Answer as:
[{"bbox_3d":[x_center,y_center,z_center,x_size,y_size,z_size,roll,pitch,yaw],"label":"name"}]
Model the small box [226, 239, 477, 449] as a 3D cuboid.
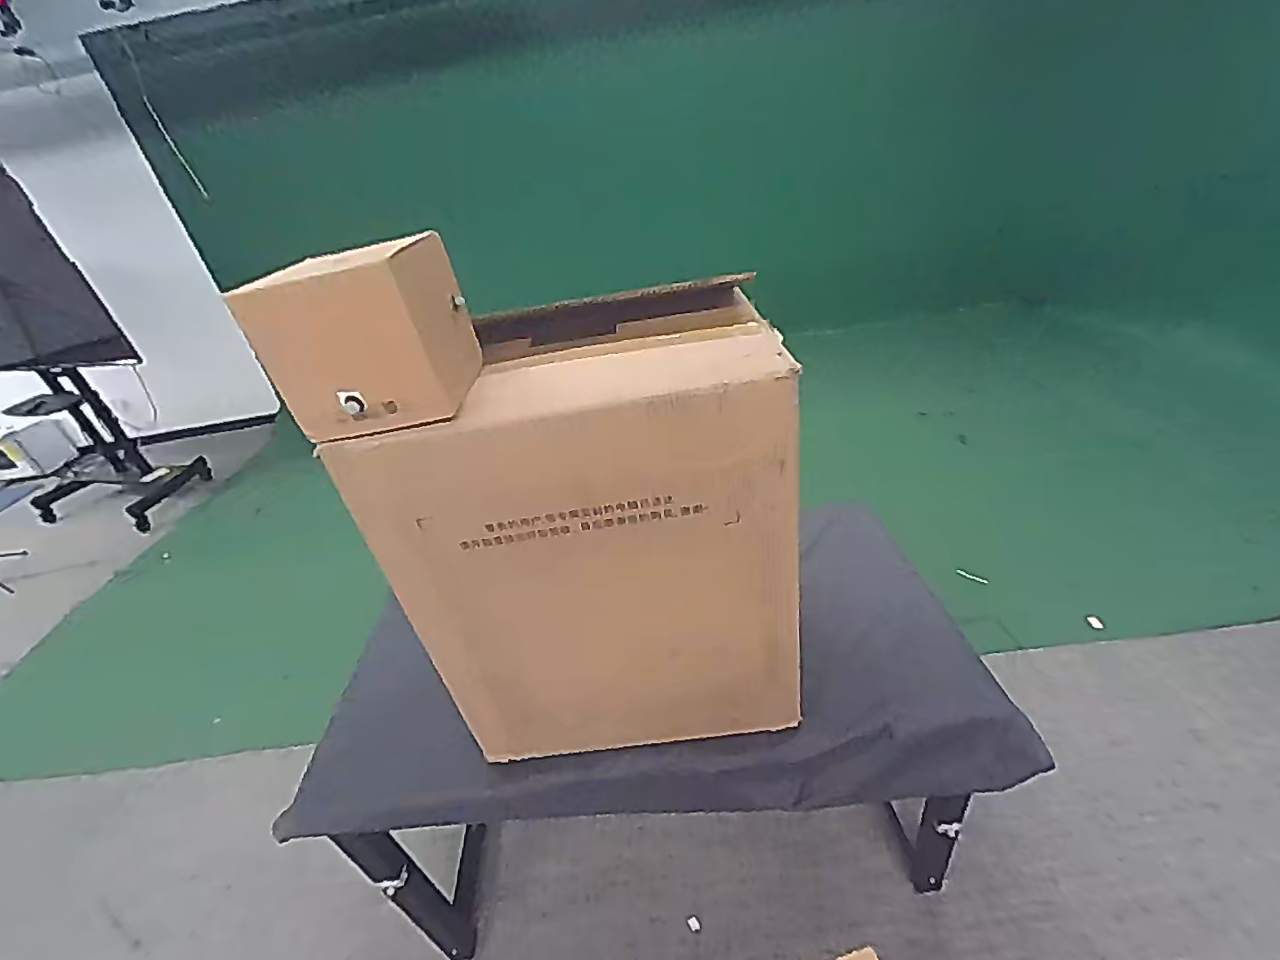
[{"bbox_3d":[-0.300,-0.156,0.615,0.168,0.176,0.179,-12,33,3],"label":"small box"}]
